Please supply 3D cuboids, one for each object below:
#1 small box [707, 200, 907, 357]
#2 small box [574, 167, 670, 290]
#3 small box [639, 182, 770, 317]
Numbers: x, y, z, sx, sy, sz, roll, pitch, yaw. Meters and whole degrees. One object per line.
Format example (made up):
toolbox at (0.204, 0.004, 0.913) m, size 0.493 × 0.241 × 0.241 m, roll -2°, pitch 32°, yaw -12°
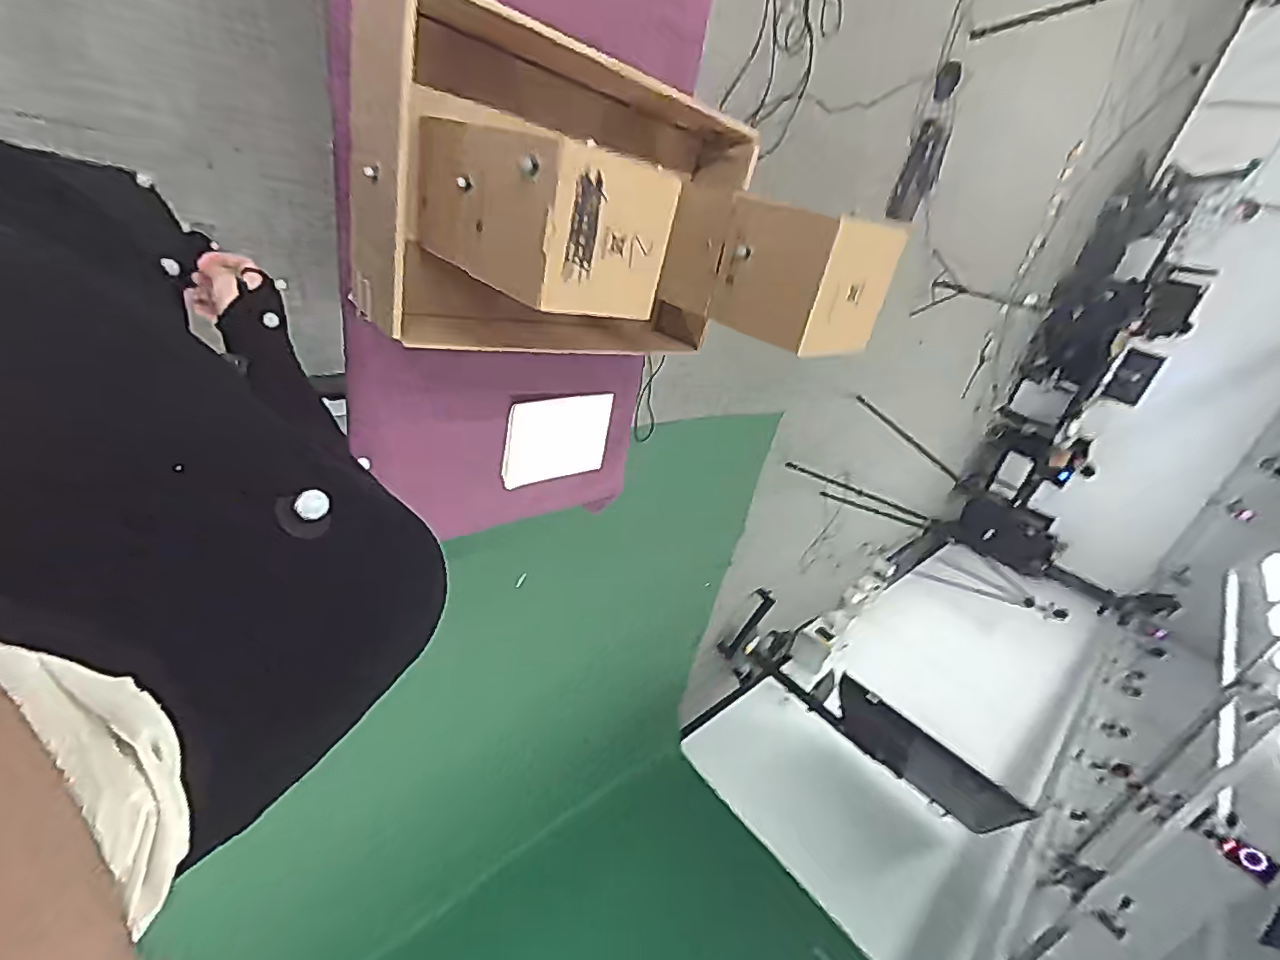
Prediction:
small box at (0.225, -0.279, 0.751) m, size 0.179 × 0.176 × 0.168 m, roll -13°, pitch 127°, yaw -39°
small box at (0.011, -0.434, 0.945) m, size 0.179 × 0.176 × 0.168 m, roll -12°, pitch 127°, yaw -40°
small box at (0.122, -0.358, 0.850) m, size 0.179 × 0.176 × 0.168 m, roll -14°, pitch 128°, yaw -40°
